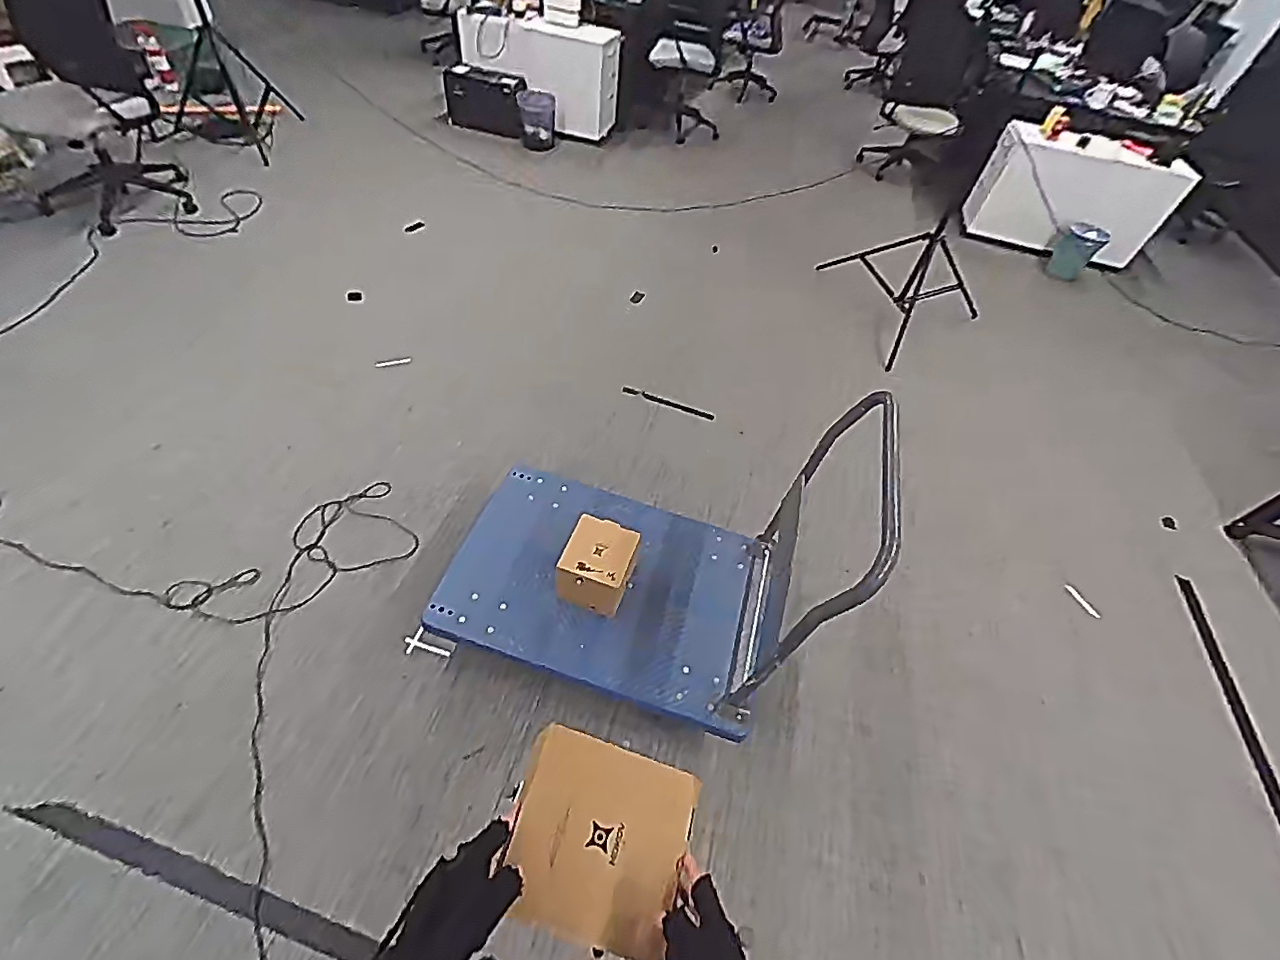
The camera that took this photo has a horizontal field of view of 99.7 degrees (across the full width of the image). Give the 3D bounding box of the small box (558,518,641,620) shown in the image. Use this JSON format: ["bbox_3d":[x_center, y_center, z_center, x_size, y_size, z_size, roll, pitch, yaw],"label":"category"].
[{"bbox_3d":[-0.110,0.237,1.426,0.168,0.176,0.179,18,49,7],"label":"small box"}]

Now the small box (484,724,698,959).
[{"bbox_3d":[-0.059,0.392,0.603,0.179,0.176,0.168,21,56,-4],"label":"small box"}]
